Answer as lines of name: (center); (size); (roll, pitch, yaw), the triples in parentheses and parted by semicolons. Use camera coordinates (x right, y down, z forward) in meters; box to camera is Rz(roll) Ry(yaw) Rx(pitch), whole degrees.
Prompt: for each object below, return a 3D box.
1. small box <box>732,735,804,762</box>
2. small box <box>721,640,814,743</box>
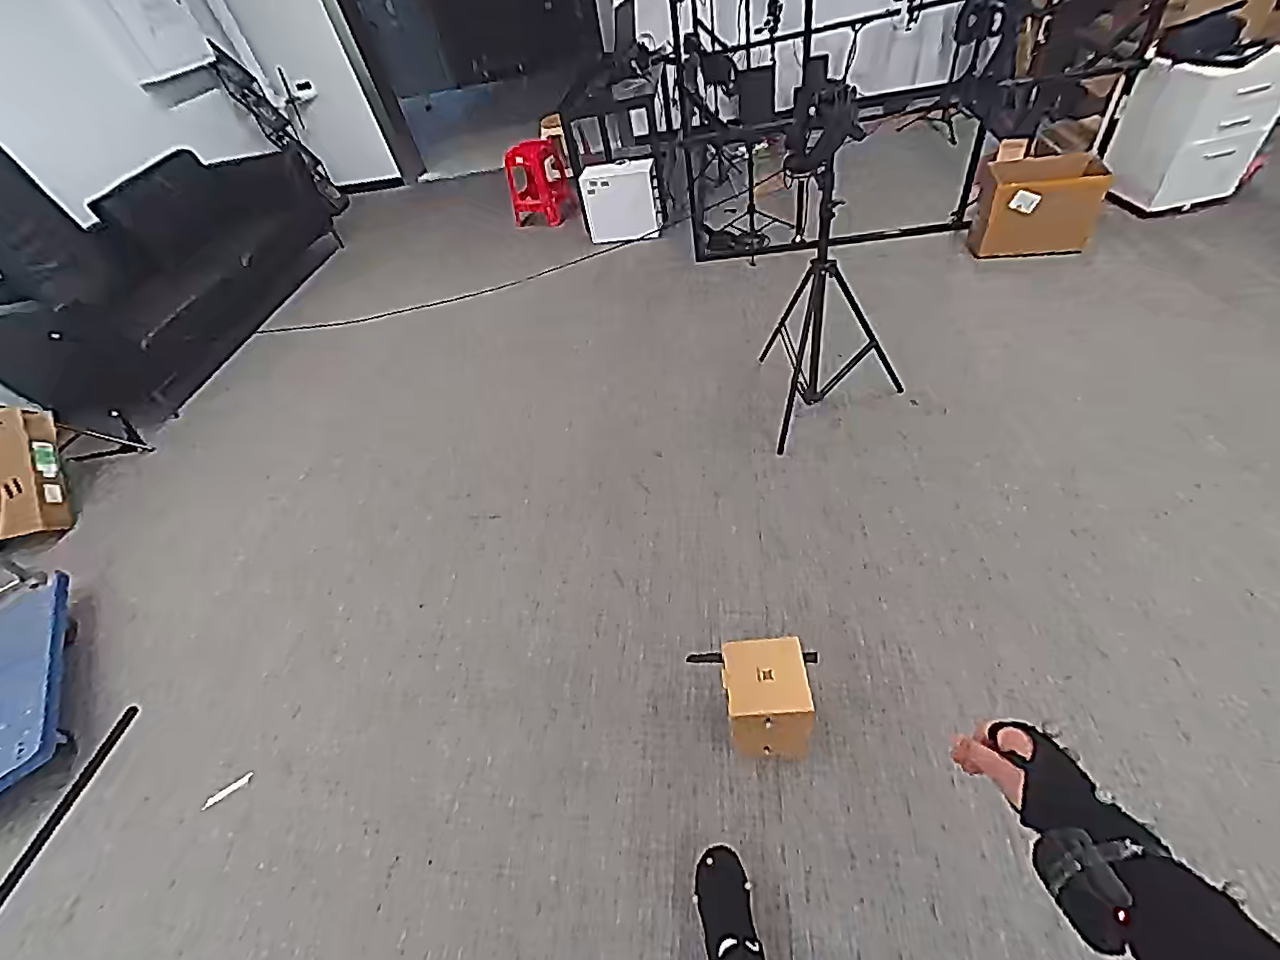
small box: (0.318, 0.584, 1.348); (0.168, 0.176, 0.179); (-1, 47, 12)
small box: (0.284, 0.481, 1.225); (0.179, 0.176, 0.168); (-8, 47, 8)
